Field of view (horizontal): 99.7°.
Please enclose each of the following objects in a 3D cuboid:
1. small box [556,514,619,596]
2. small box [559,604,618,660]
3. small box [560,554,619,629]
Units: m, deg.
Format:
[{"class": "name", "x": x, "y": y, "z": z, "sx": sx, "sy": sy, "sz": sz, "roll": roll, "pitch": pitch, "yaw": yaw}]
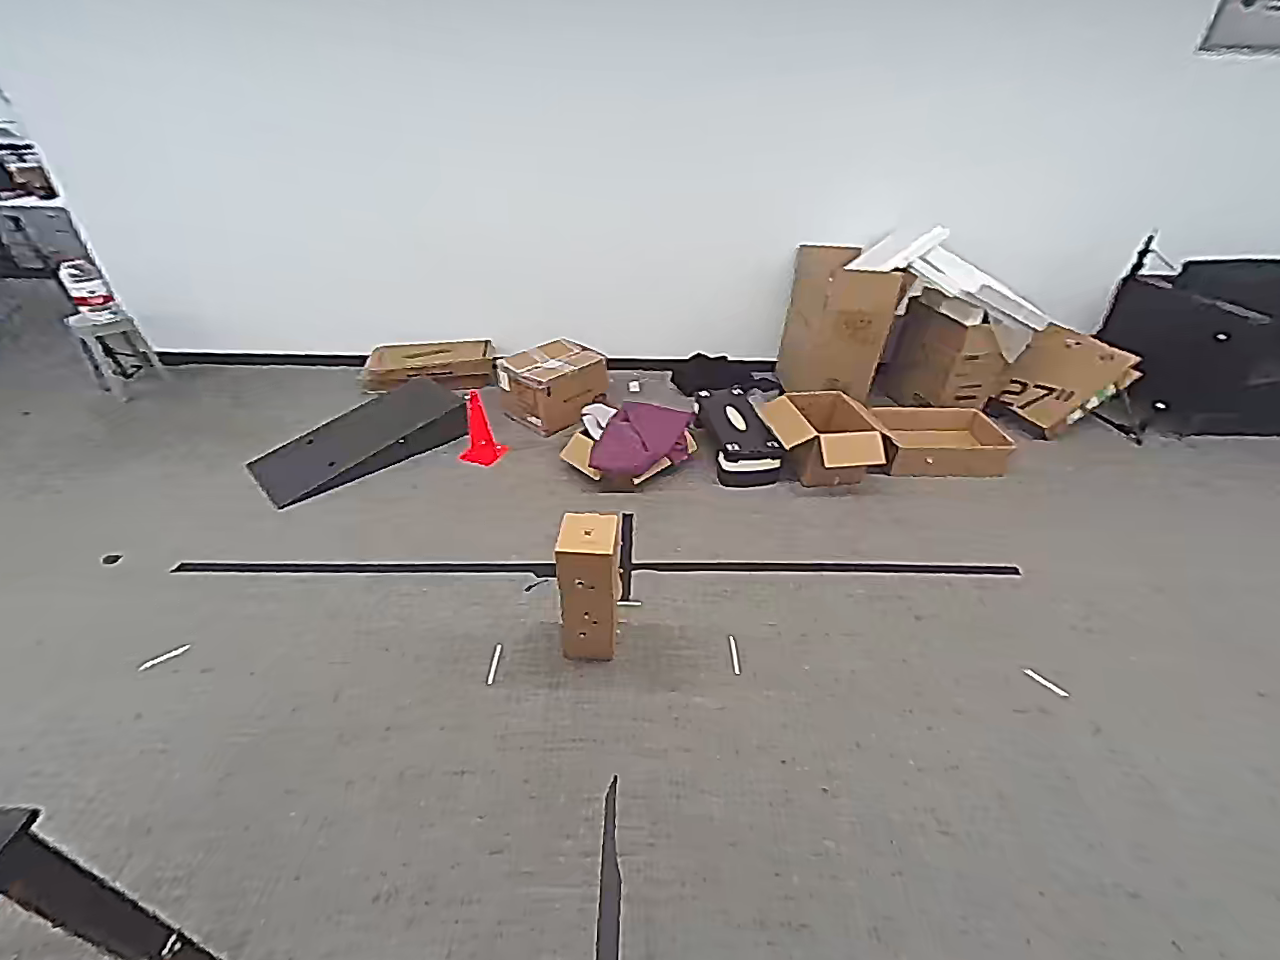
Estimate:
[{"class": "small box", "x": -0.153, "y": 0.224, "z": 1.625, "sx": 0.168, "sy": 0.176, "sz": 0.179, "roll": 2, "pitch": 36, "yaw": 2}, {"class": "small box", "x": -0.167, "y": 0.486, "z": 1.822, "sx": 0.179, "sy": 0.176, "sz": 0.168, "roll": 3, "pitch": 36, "yaw": 1}, {"class": "small box", "x": -0.157, "y": 0.349, "z": 1.731, "sx": 0.168, "sy": 0.176, "sz": 0.179, "roll": 2, "pitch": 36, "yaw": 2}]
